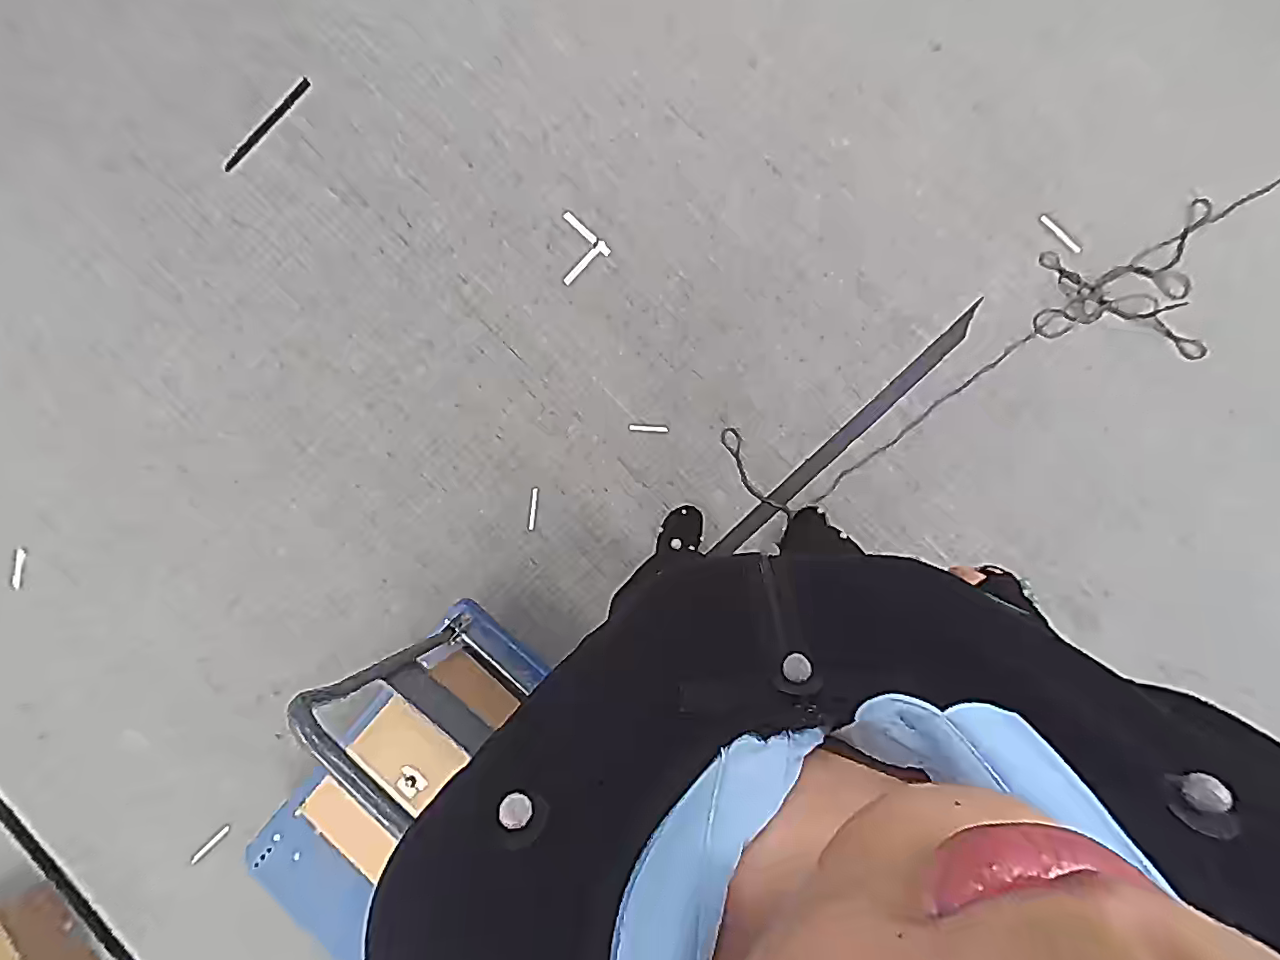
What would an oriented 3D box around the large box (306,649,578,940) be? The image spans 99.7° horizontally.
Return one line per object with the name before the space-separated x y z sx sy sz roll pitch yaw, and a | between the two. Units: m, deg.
large box | -0.405 0.655 1.202 0.408 0.320 0.320 41 90 5
